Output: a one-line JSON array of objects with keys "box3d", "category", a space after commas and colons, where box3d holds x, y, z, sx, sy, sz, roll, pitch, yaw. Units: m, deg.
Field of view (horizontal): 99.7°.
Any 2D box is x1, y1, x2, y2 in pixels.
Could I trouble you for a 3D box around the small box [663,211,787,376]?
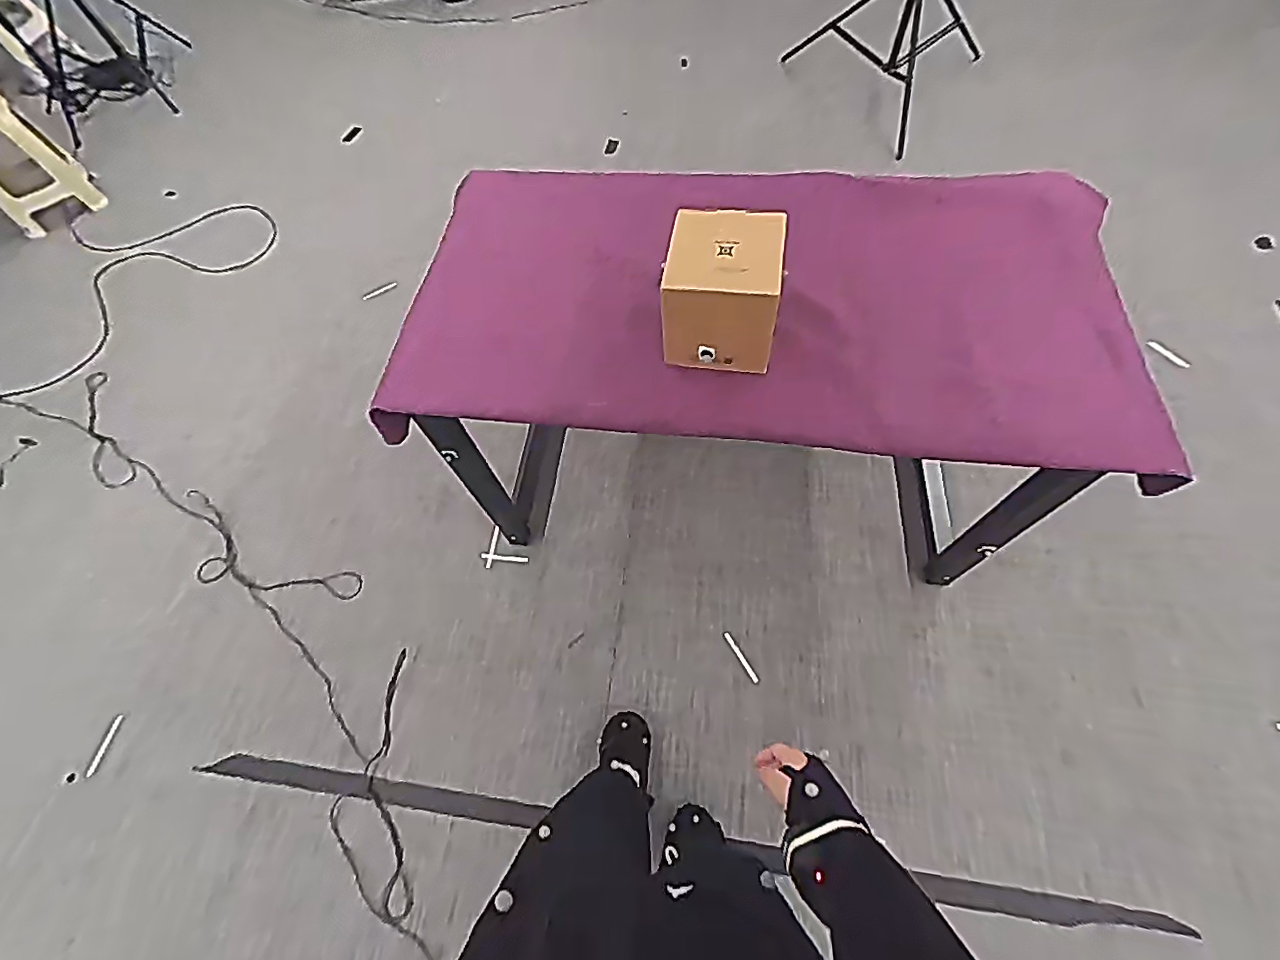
[{"box3d": [0.131, -0.291, 0.852, 0.168, 0.176, 0.179, 6, 63, 9], "category": "small box"}]
